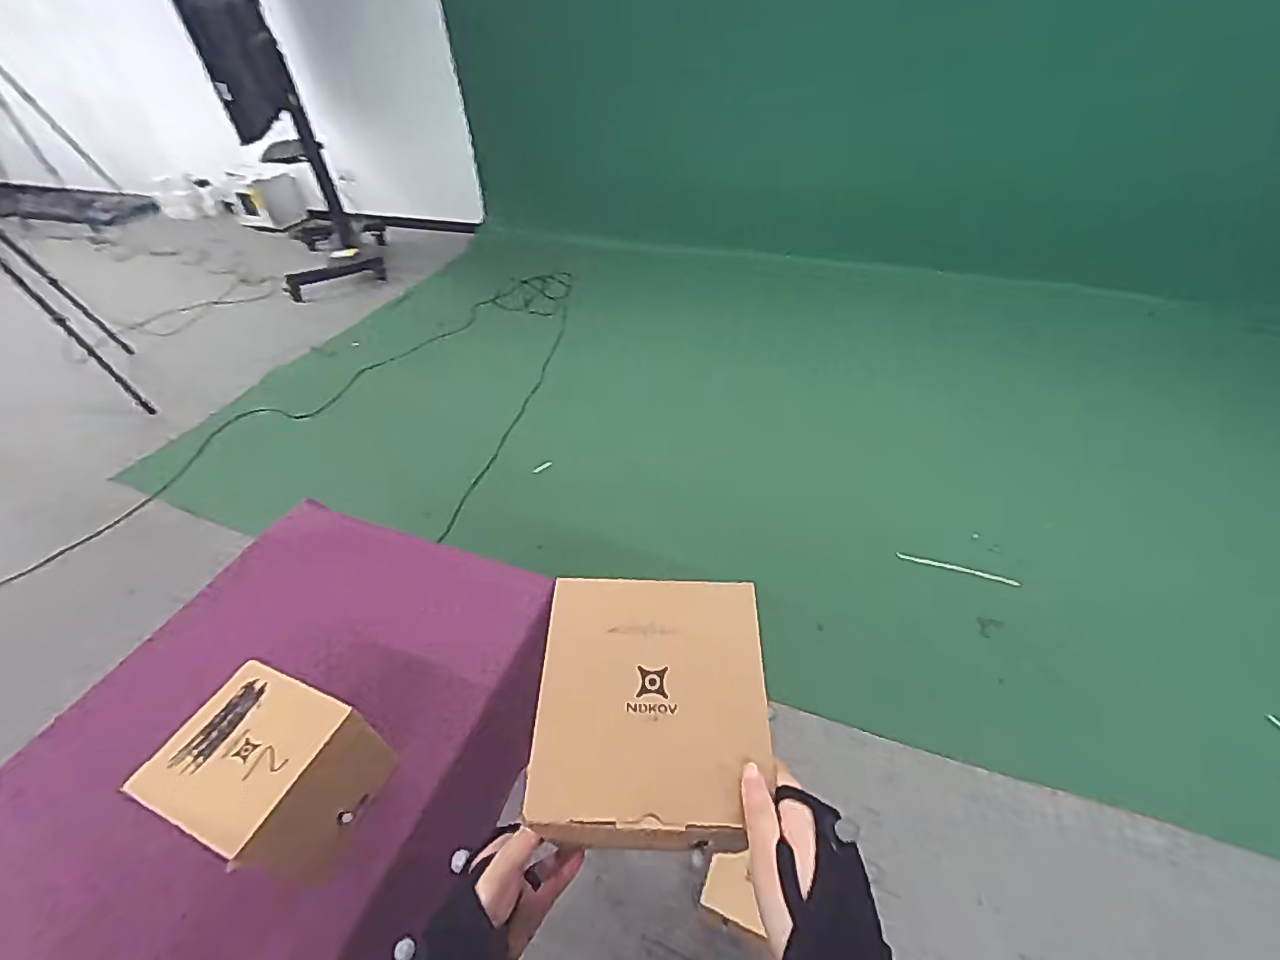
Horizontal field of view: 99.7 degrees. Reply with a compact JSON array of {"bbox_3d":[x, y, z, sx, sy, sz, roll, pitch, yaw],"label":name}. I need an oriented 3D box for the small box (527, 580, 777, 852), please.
[{"bbox_3d":[0.013,0.204,0.460,0.168,0.176,0.179,2,52,1],"label":"small box"}]

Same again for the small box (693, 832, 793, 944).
[{"bbox_3d":[0.220,0.858,1.169,0.168,0.176,0.179,16,46,18],"label":"small box"}]
